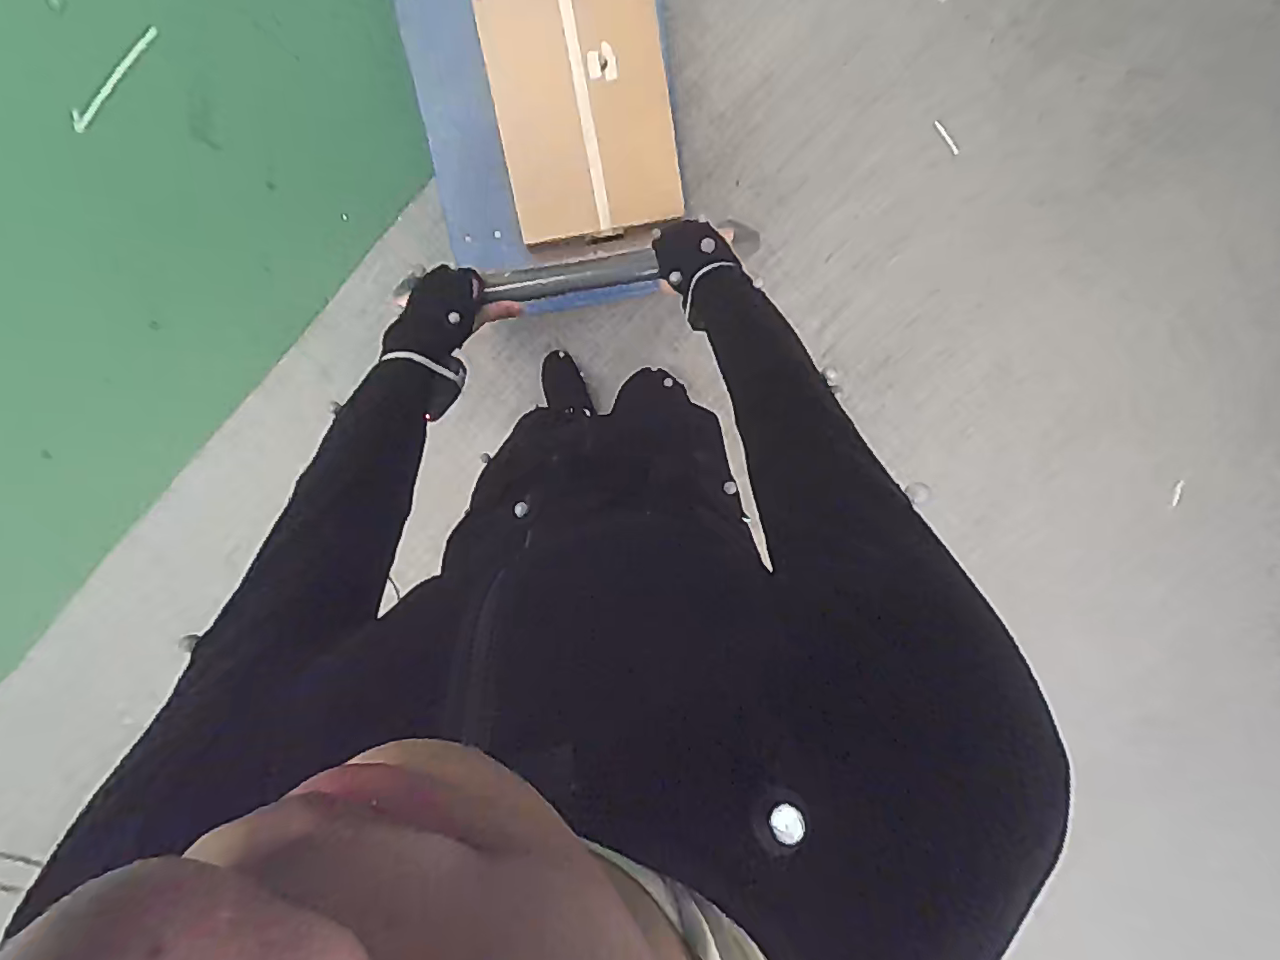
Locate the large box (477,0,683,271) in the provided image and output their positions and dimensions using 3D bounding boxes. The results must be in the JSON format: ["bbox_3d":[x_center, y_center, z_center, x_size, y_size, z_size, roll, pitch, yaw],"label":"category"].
[{"bbox_3d":[-0.110,-0.695,1.141,0.320,0.320,0.408,-11,104,-2],"label":"large box"}]
